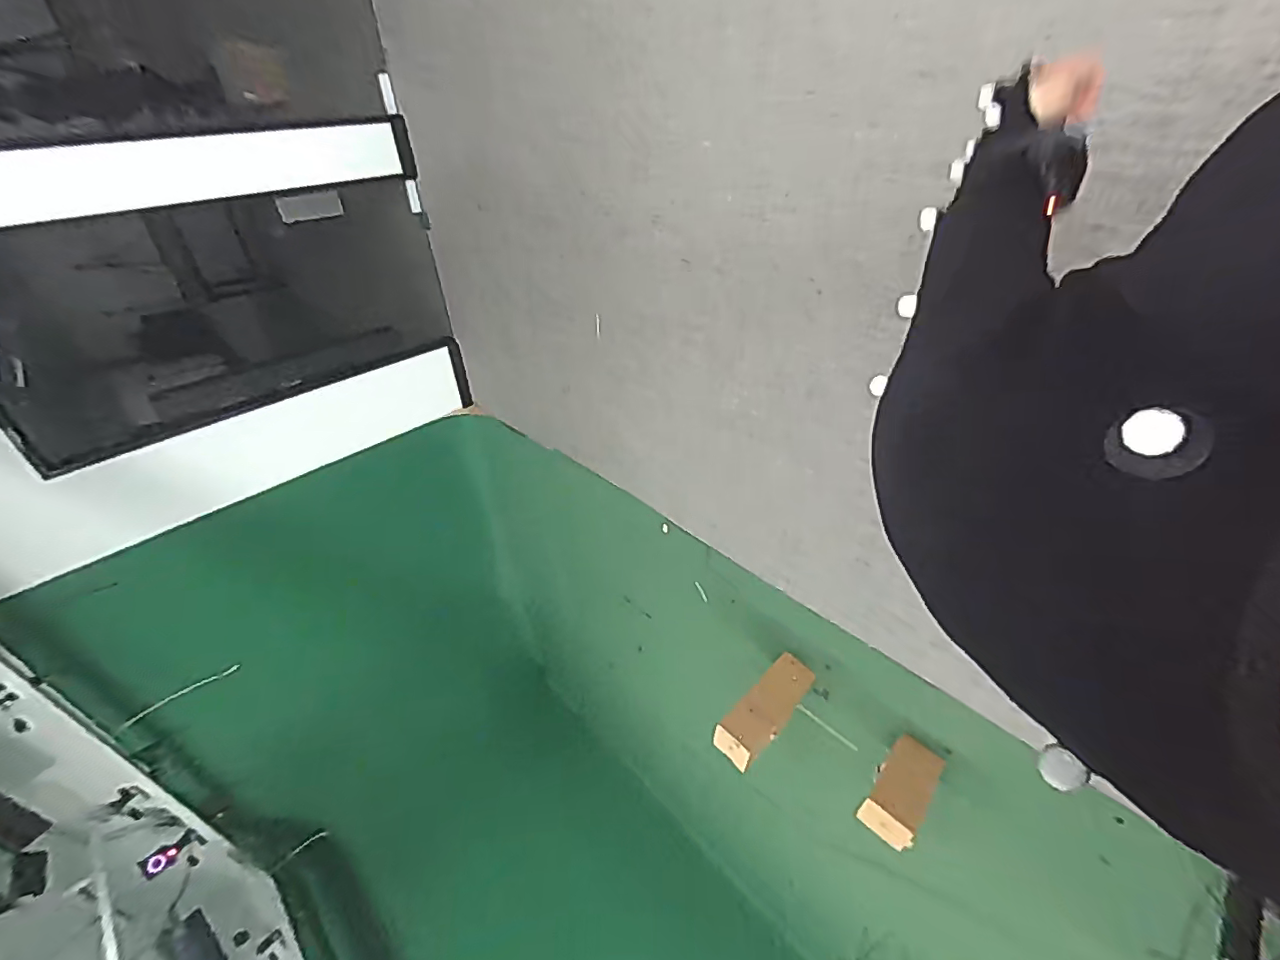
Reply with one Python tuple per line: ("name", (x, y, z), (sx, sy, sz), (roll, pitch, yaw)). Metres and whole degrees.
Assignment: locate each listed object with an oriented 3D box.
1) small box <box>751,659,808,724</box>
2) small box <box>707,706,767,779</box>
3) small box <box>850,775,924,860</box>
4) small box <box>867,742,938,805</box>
("small box", (0.626, 0.939, 2.412), (0.168, 0.176, 0.179), (37, 140, 29))
("small box", (0.398, 1.071, 2.216), (0.168, 0.176, 0.179), (34, 139, 33))
("small box", (0.910, 1.234, 1.988), (0.179, 0.176, 0.168), (32, 136, 34))
("small box", (1.016, 1.161, 2.089), (0.179, 0.176, 0.168), (30, 135, 35))
